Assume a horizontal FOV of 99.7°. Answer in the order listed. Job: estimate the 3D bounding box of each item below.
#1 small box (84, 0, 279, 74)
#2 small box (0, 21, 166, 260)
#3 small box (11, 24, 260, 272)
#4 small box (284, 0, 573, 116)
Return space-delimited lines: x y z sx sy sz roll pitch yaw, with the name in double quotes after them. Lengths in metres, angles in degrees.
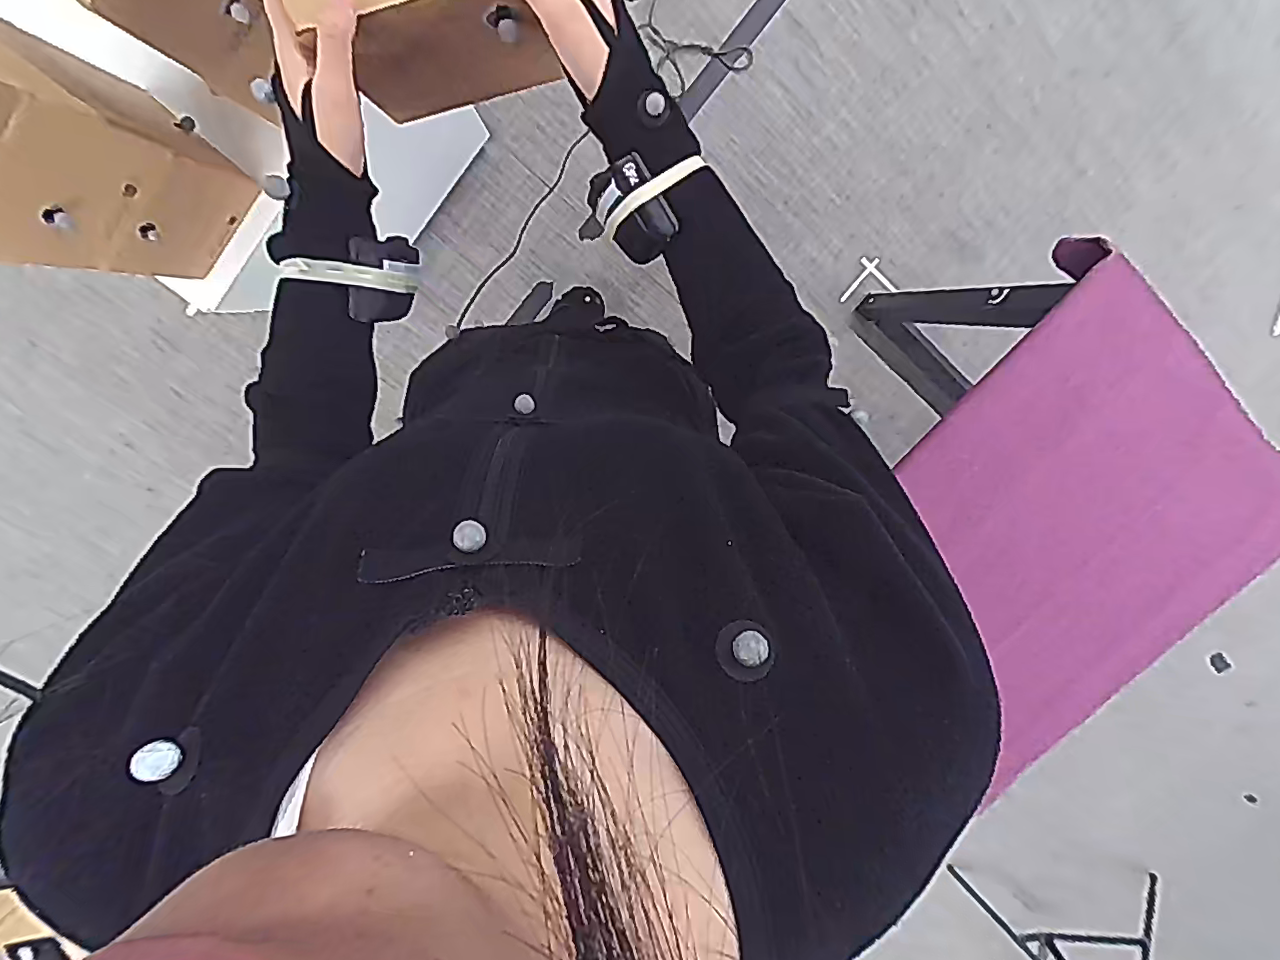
-0.443 -0.504 0.458 0.179 0.176 0.168 40 101 -16 "small box"
-0.611 -0.326 0.502 0.179 0.176 0.168 38 101 -14 "small box"
-0.625 -0.375 0.656 0.179 0.176 0.168 40 101 -13 "small box"
-0.150 -0.394 0.382 0.179 0.176 0.168 -14 107 2 "small box"
